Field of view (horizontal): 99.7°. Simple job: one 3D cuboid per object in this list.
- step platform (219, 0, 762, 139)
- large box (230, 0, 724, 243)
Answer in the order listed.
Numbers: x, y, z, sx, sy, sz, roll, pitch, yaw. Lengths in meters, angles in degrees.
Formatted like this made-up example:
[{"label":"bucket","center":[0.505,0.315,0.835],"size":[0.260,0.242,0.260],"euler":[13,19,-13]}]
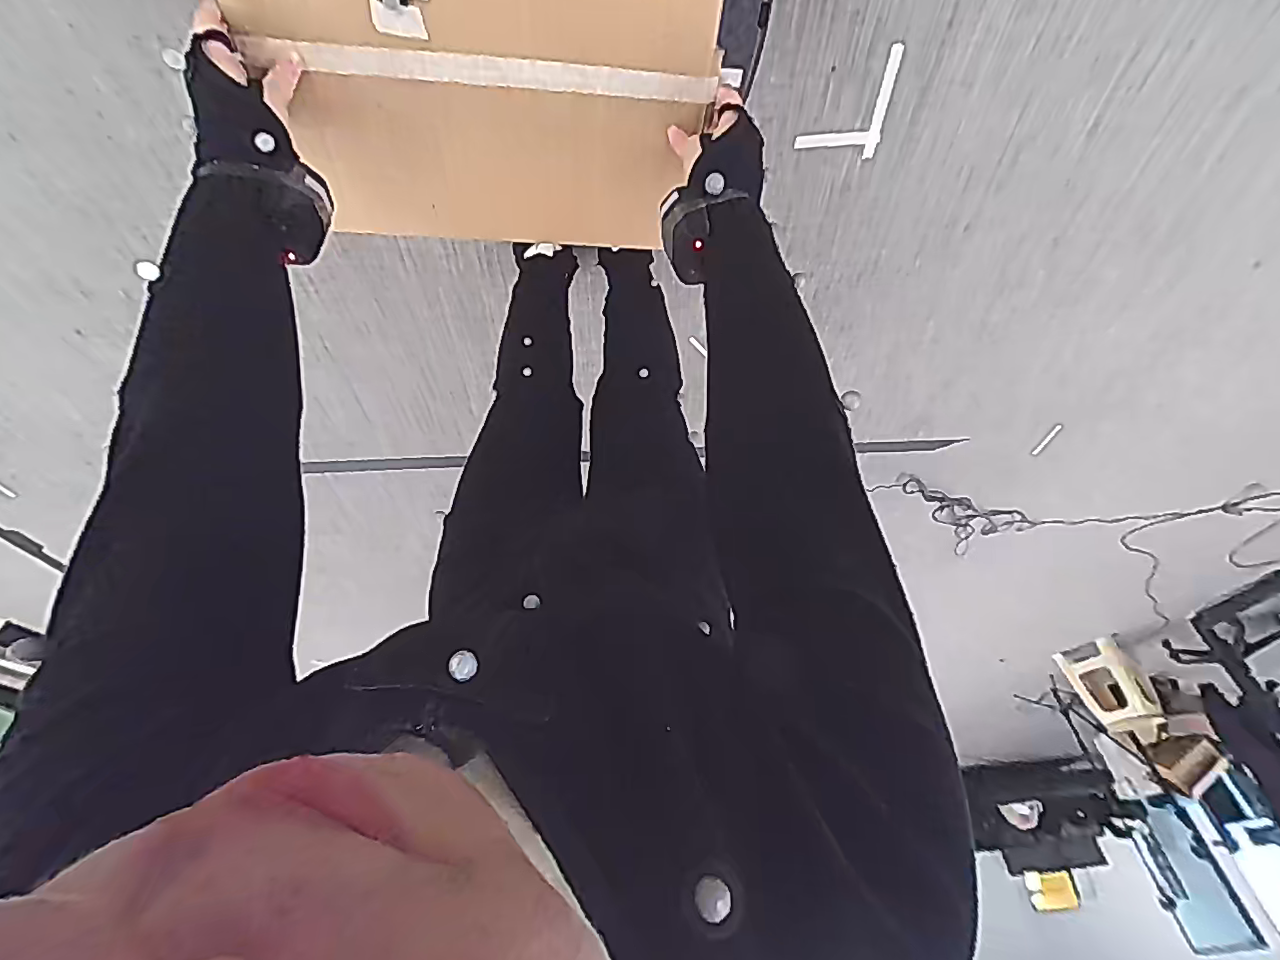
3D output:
[{"label":"step platform","center":[-0.181,-0.661,0.709],"size":[0.684,0.204,0.286],"euler":[2,141,-8]},{"label":"large box","center":[-0.138,-0.478,0.561],"size":[0.408,0.320,0.320],"euler":[1,140,-6]}]
